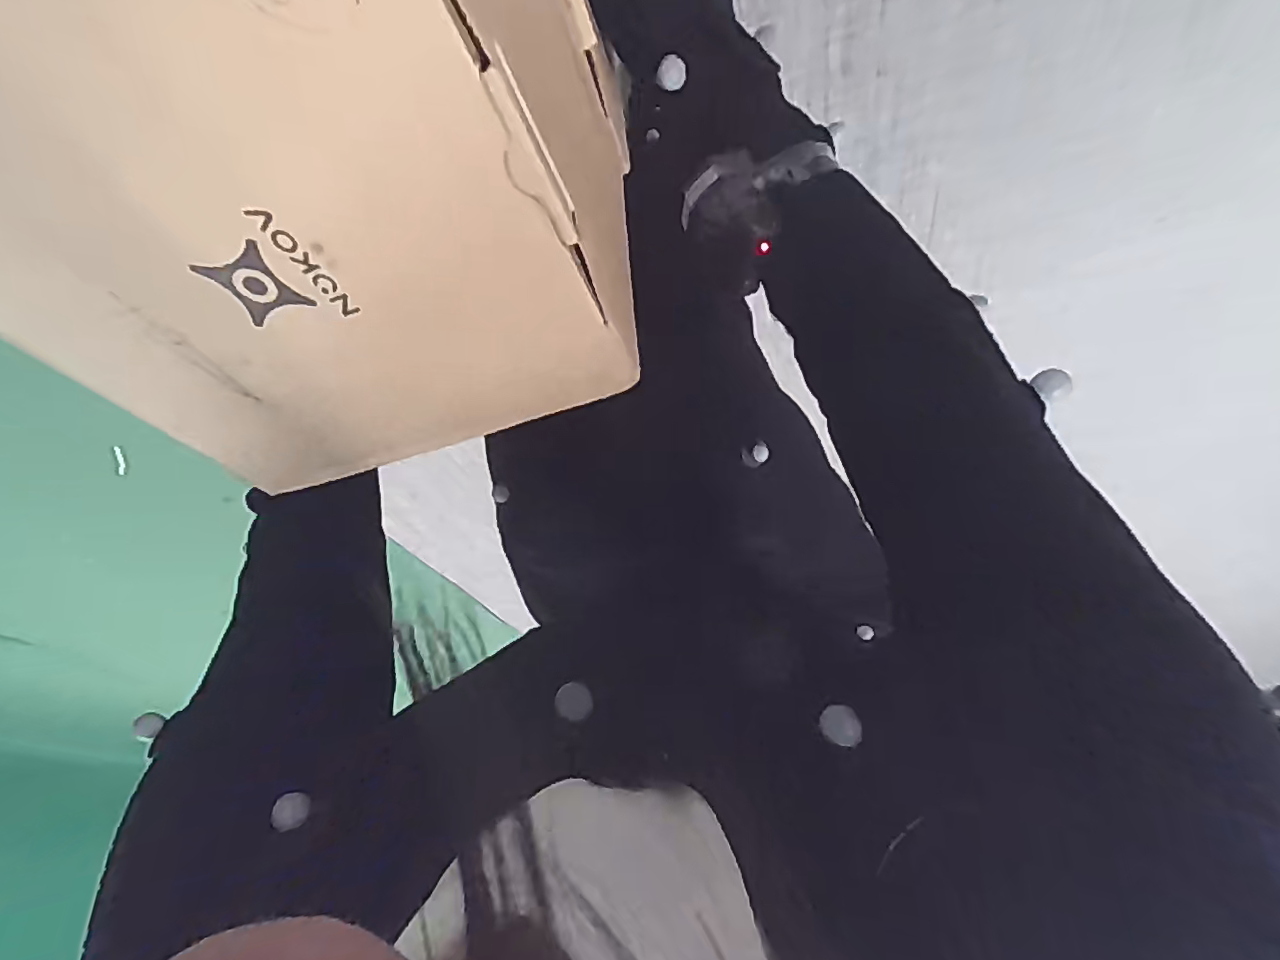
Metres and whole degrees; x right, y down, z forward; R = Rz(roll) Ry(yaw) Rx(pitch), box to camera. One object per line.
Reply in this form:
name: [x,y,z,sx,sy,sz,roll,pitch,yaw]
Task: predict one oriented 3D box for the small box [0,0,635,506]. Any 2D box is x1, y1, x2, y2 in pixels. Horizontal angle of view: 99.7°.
small box: [-0.113,-0.116,0.205,0.179,0.176,0.168,-13,144,16]
